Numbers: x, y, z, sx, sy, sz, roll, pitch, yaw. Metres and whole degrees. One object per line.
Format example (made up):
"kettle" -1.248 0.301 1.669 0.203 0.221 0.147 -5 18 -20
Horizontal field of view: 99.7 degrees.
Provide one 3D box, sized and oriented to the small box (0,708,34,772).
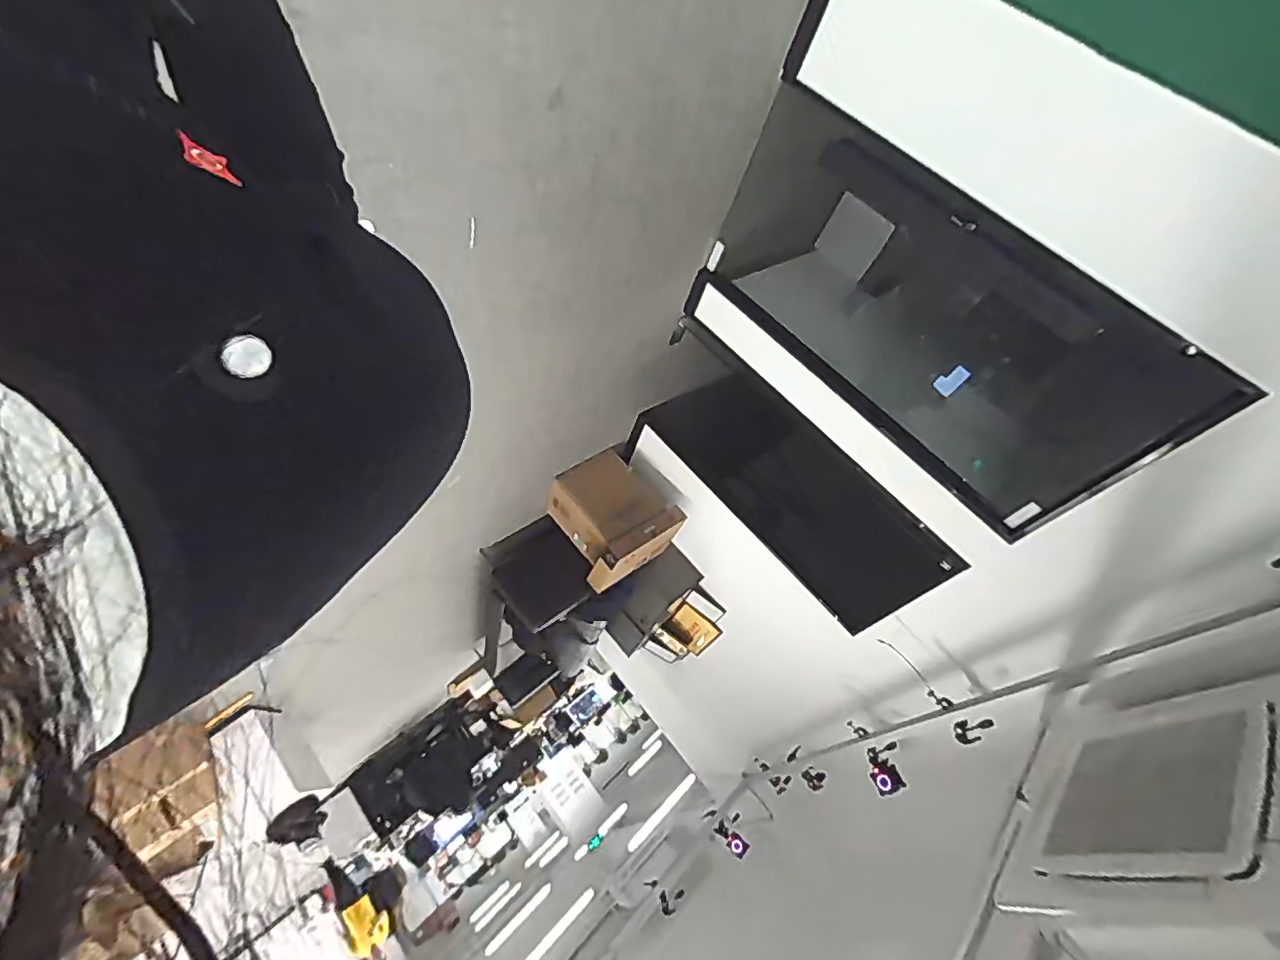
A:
"small box" -2.283 0.923 1.870 0.179 0.176 0.168 -33 160 -33
